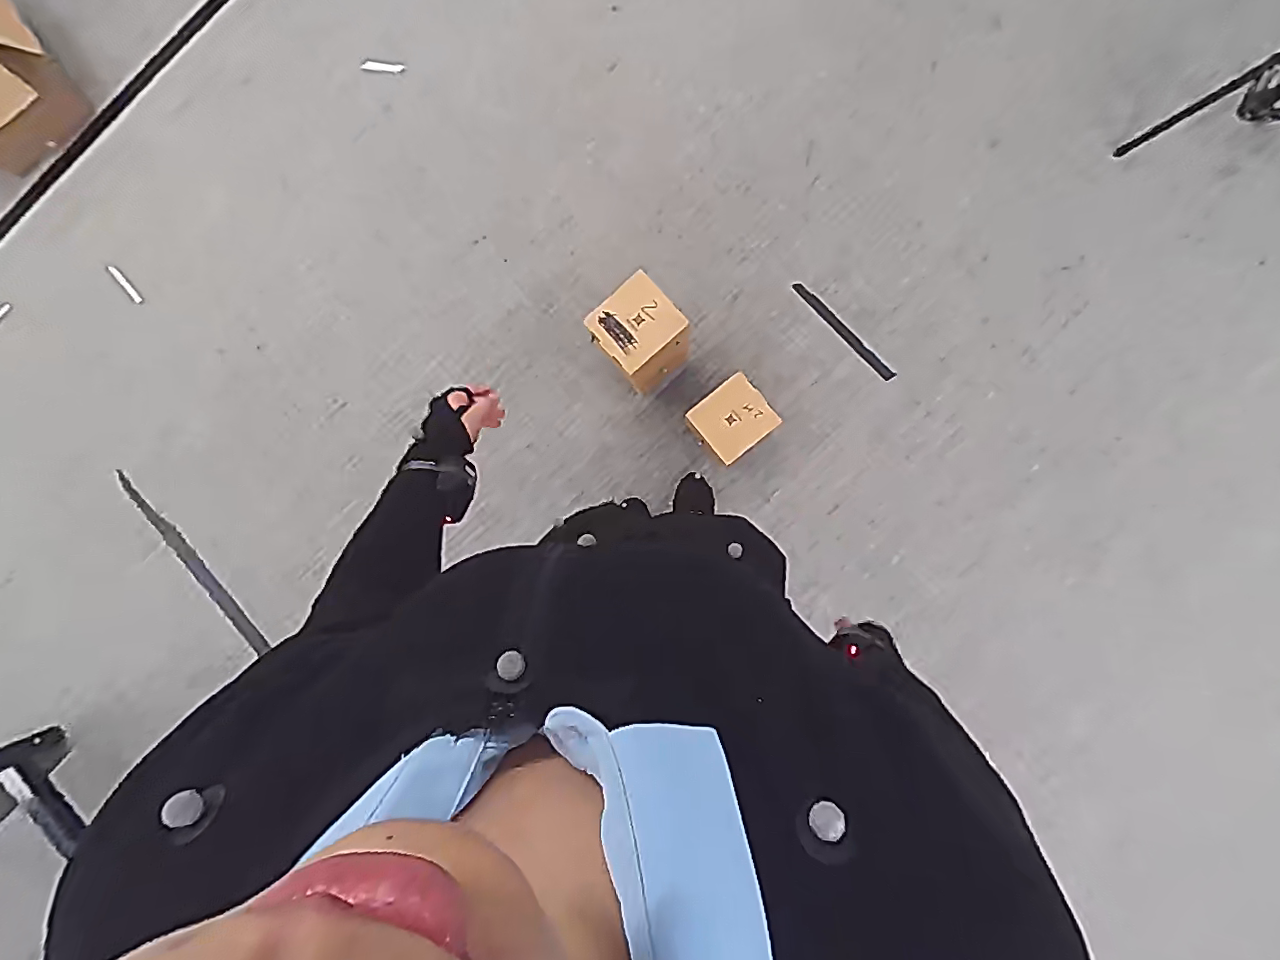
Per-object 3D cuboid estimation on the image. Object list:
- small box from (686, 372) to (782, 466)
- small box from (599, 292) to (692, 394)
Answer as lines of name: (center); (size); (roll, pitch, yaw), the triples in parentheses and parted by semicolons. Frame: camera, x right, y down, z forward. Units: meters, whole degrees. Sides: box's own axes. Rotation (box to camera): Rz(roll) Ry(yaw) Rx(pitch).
small box: (0.236, -0.148, 1.393); (0.179, 0.176, 0.168); (-39, 87, 3)
small box: (0.017, -0.351, 1.418); (0.179, 0.176, 0.168); (-40, 86, 4)
